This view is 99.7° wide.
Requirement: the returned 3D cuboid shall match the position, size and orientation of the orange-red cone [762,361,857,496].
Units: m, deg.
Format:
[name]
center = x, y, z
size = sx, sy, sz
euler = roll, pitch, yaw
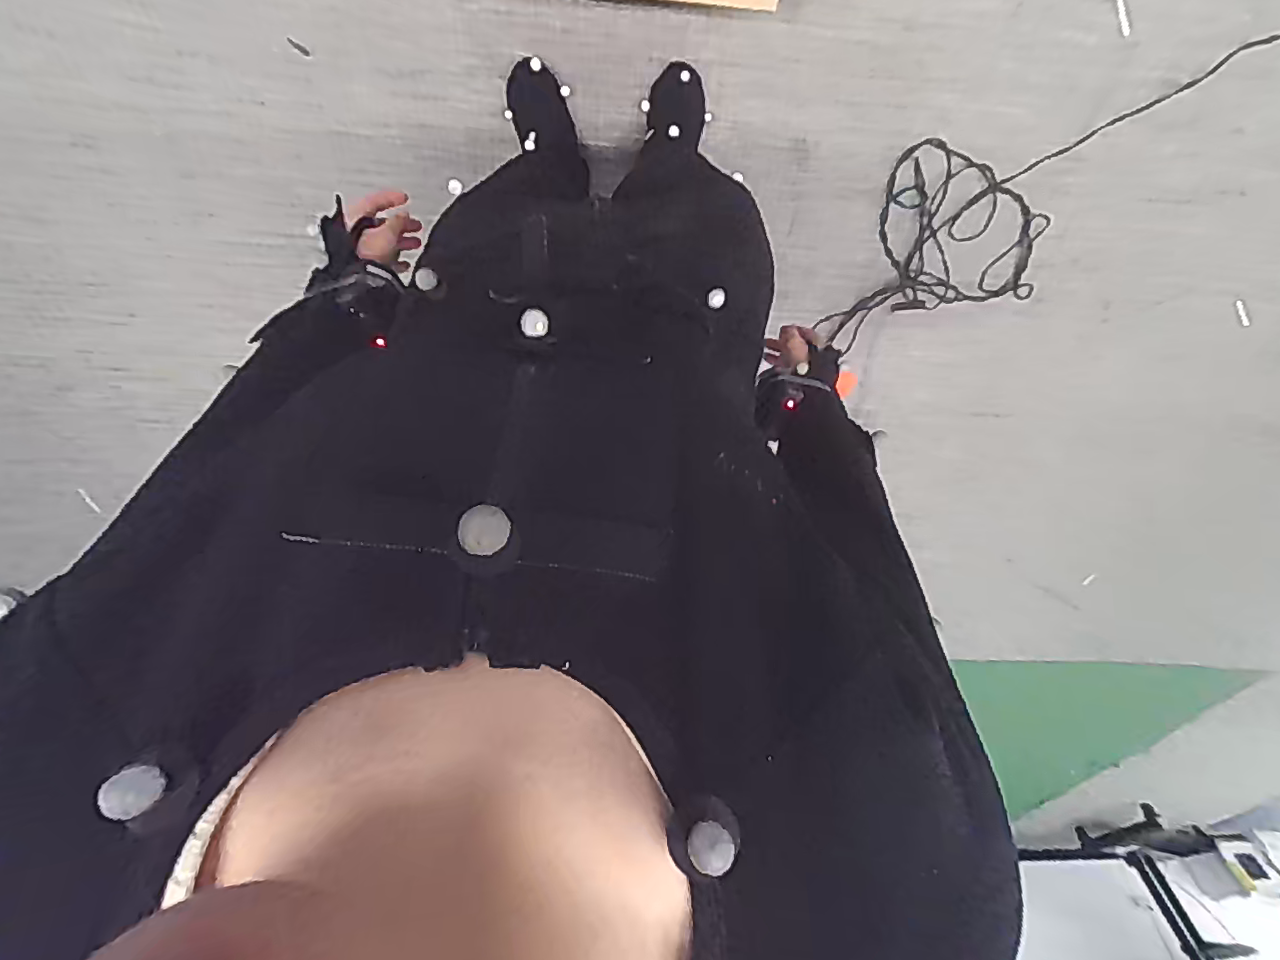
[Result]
[orange-red cone]
center = 0.453, -0.096, 1.311
size = 0.199, 0.360, 0.198
euler = 17, 130, -17
